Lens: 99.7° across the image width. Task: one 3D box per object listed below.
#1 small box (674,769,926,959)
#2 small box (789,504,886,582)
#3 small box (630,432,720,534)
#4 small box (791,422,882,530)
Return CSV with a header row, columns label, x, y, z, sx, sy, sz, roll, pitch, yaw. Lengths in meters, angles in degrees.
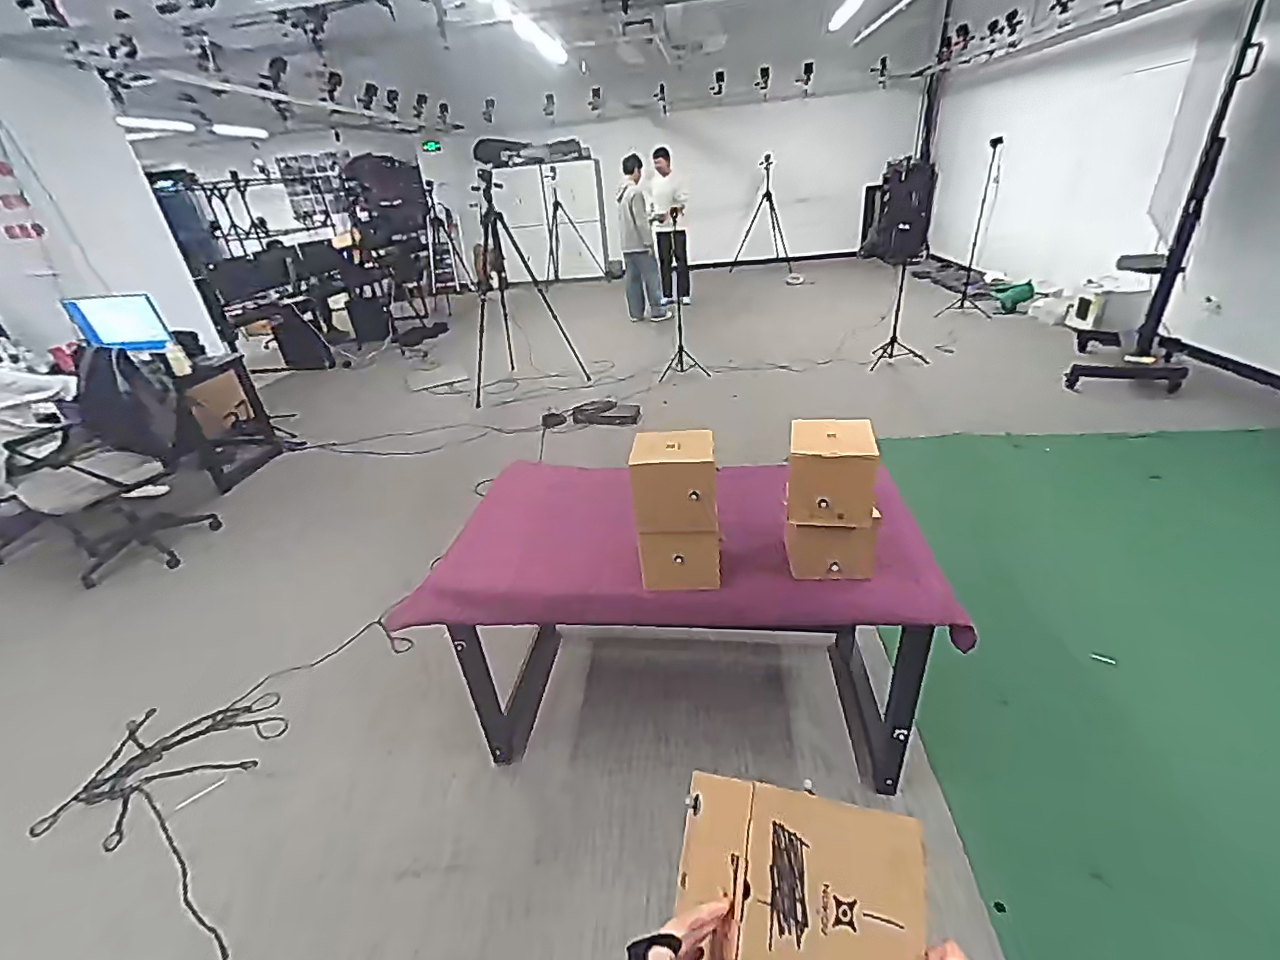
label,x,y,z,sx,sy,sz,roll,pitch,yaw
small box,0.145,0.391,0.529,0.179,0.176,0.168,17,62,-7
small box,0.443,0.120,1.239,0.179,0.176,0.168,-2,27,9
small box,0.084,0.008,1.176,0.179,0.176,0.168,-2,27,10
small box,0.410,-0.014,1.149,0.168,0.176,0.179,1,29,16
